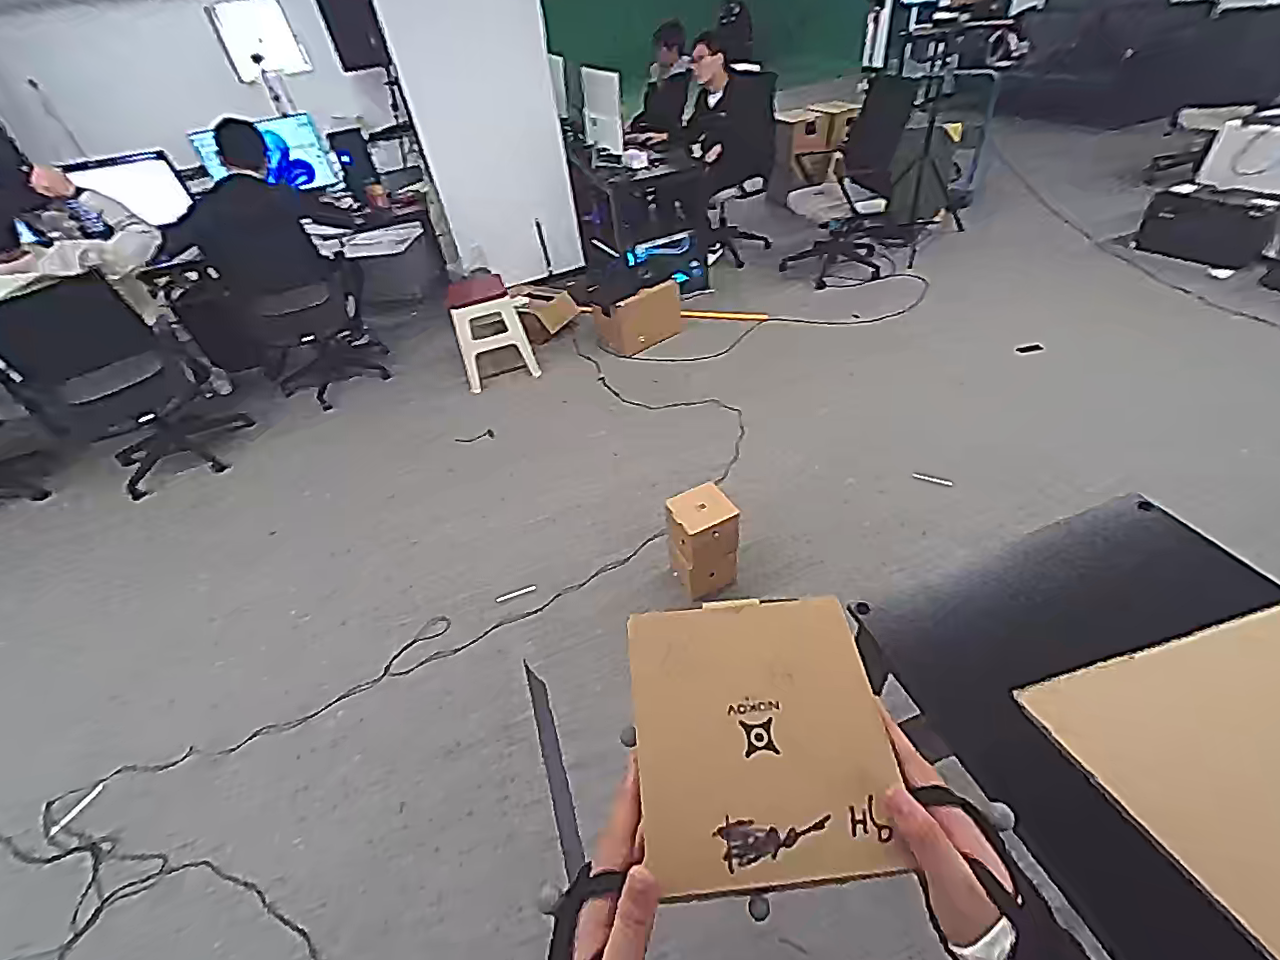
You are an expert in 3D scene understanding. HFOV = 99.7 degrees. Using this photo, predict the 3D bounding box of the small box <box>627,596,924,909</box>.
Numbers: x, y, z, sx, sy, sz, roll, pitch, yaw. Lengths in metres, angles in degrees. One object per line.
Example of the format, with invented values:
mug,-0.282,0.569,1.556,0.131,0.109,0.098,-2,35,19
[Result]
small box,0.079,0.214,0.424,0.168,0.176,0.179,-6,50,-2

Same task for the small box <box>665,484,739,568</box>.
small box,0.196,0.148,1.701,0.179,0.176,0.168,-22,44,-16

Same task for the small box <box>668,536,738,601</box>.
small box,0.210,0.270,1.808,0.179,0.176,0.168,-21,43,-12
